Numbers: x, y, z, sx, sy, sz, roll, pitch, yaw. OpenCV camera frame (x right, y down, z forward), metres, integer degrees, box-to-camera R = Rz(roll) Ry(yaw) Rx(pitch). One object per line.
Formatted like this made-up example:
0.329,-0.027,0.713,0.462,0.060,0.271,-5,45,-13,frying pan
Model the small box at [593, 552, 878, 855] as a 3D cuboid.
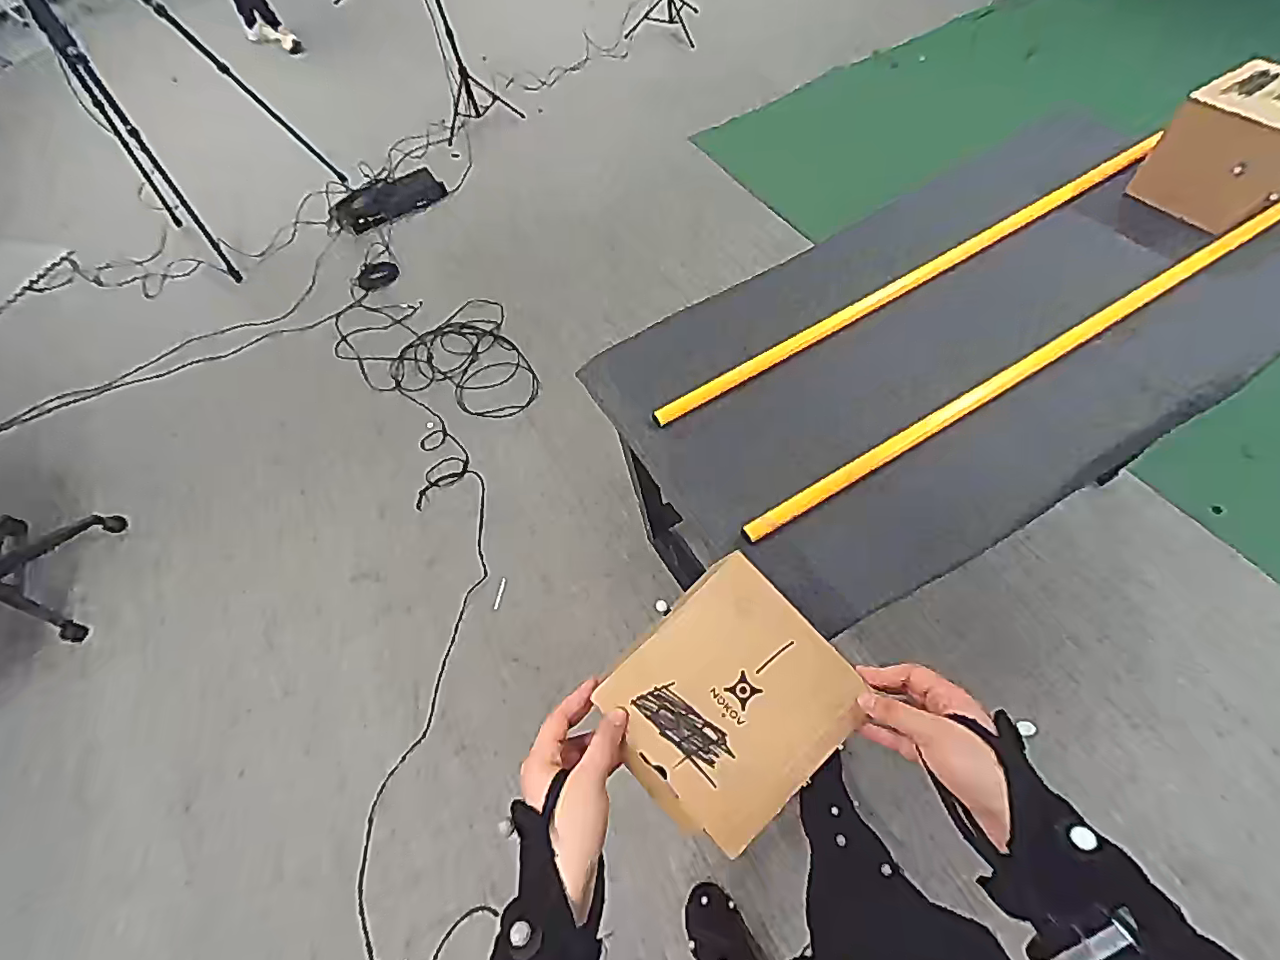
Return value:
0.079,0.194,0.517,0.179,0.176,0.168,-43,80,-9,small box
